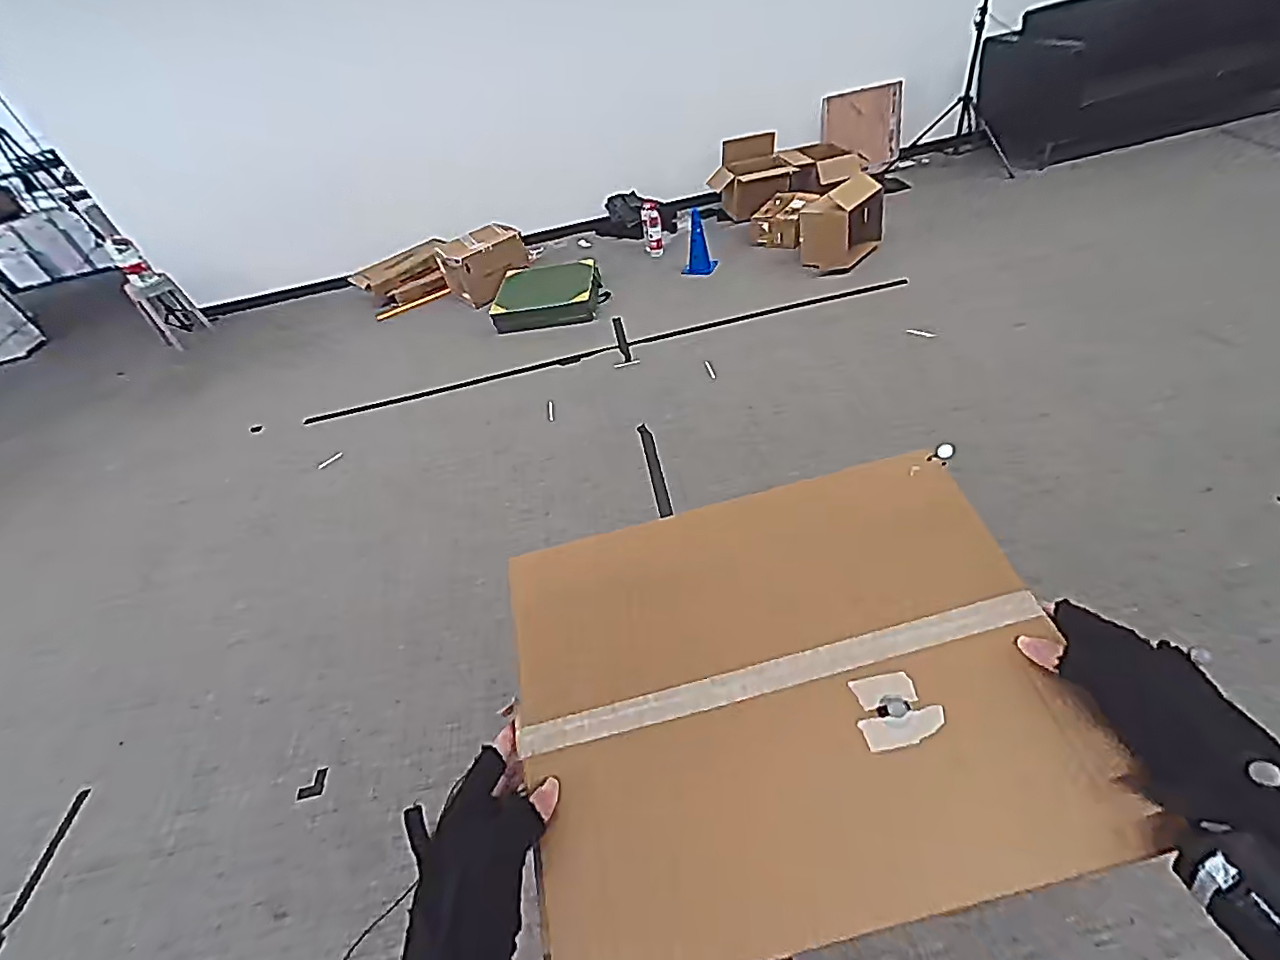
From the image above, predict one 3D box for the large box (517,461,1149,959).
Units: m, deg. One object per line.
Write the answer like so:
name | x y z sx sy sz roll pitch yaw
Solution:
large box | 0.127 0.236 0.552 0.408 0.320 0.320 -15 57 -1
